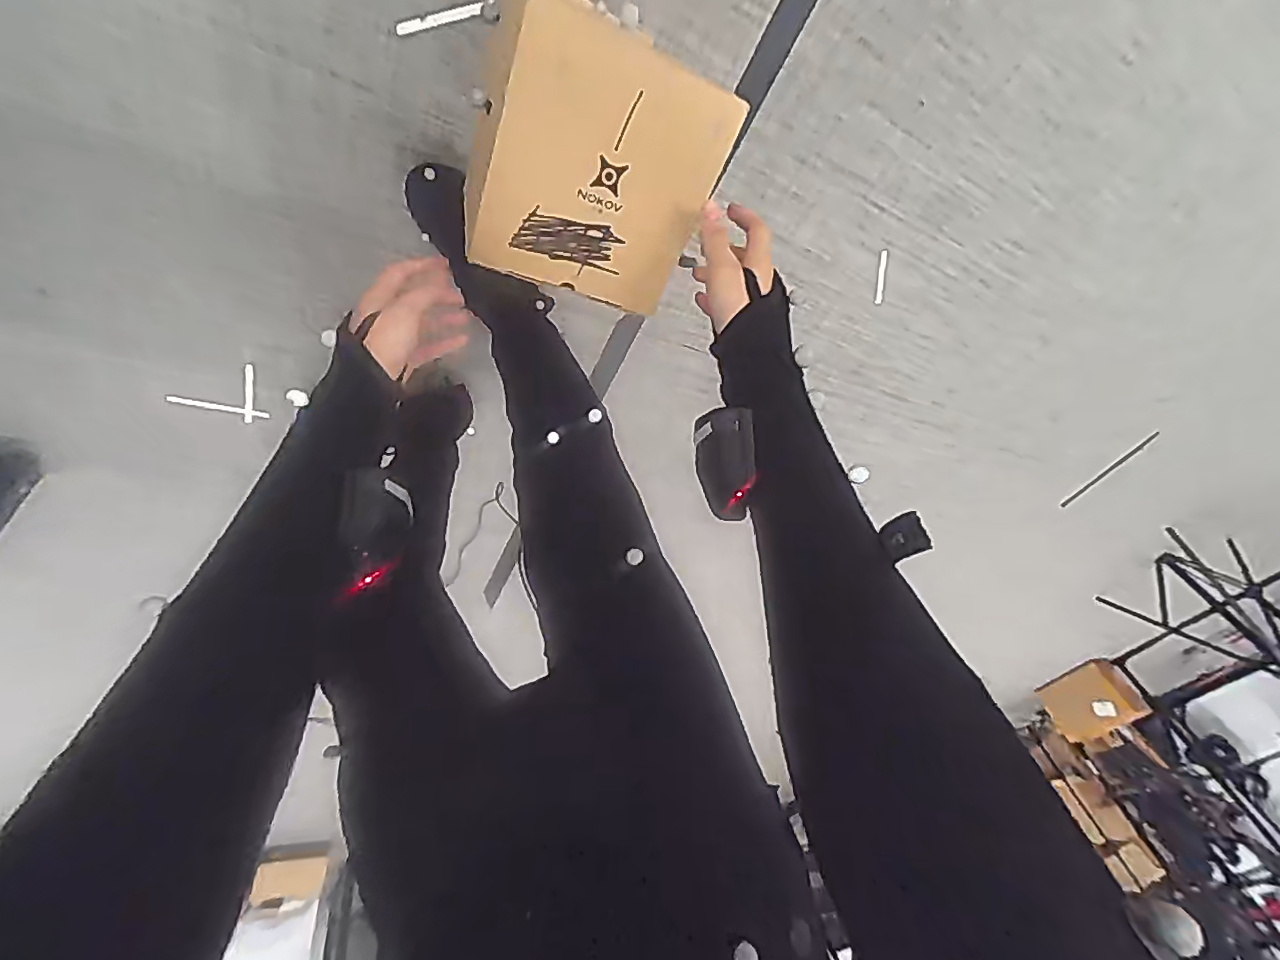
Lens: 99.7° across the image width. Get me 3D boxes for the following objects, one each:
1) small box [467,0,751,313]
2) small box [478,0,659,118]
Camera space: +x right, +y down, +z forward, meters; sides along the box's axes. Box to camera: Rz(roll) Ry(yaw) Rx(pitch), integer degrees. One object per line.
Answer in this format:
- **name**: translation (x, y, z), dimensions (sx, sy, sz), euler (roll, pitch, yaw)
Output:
- **small box**: translation (-0.042, -0.278, 0.454), dimensions (0.168, 0.176, 0.179), euler (9, 132, -27)
- **small box**: translation (-0.102, -0.514, 0.675), dimensions (0.168, 0.176, 0.179), euler (10, 132, -27)
